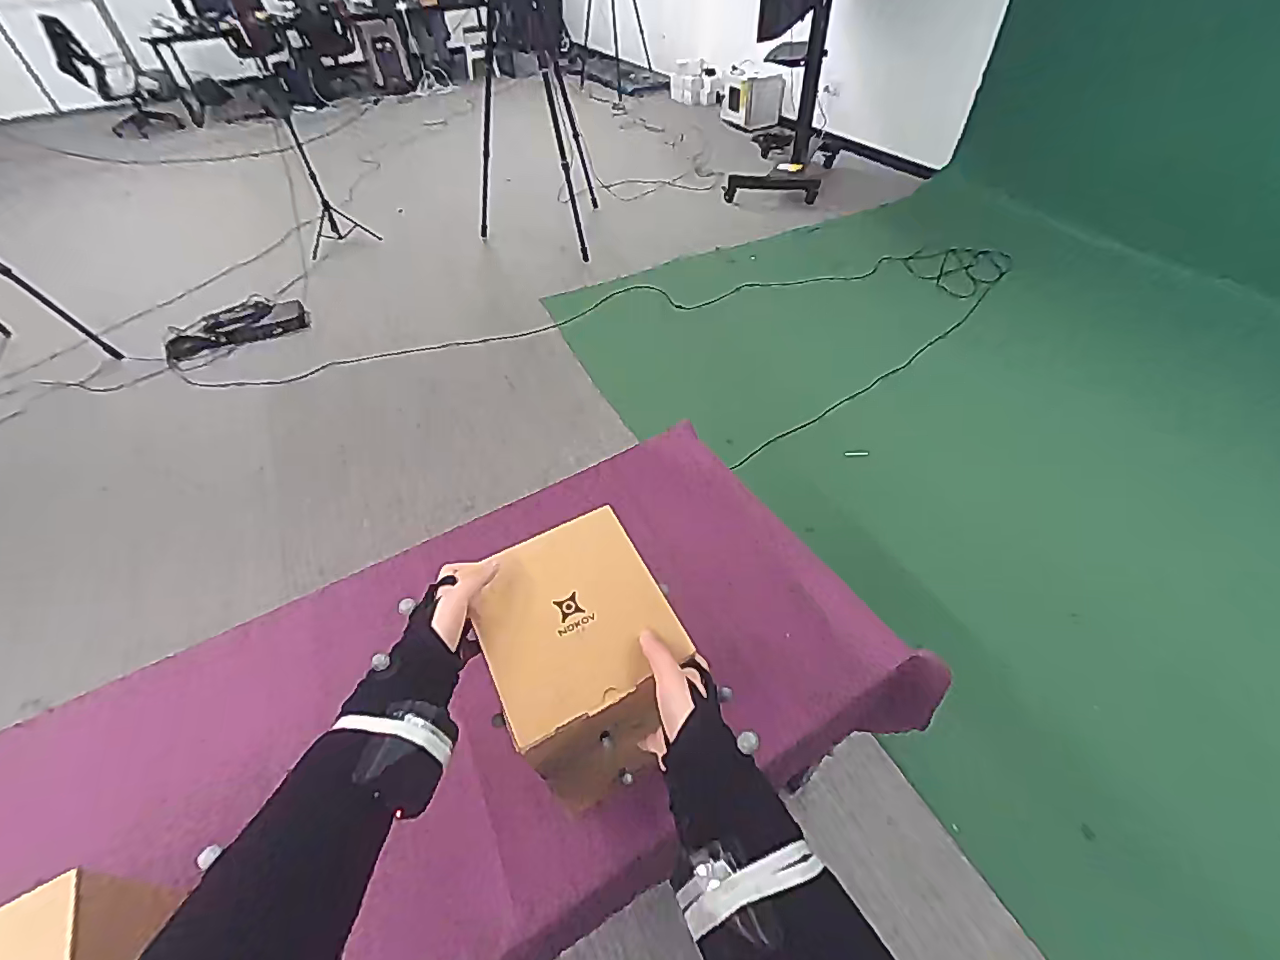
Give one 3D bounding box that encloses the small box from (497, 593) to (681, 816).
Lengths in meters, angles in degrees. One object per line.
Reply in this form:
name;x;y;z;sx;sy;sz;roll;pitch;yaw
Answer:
small box;-0.062;0.283;0.684;0.168;0.176;0.179;-23;50;-16
